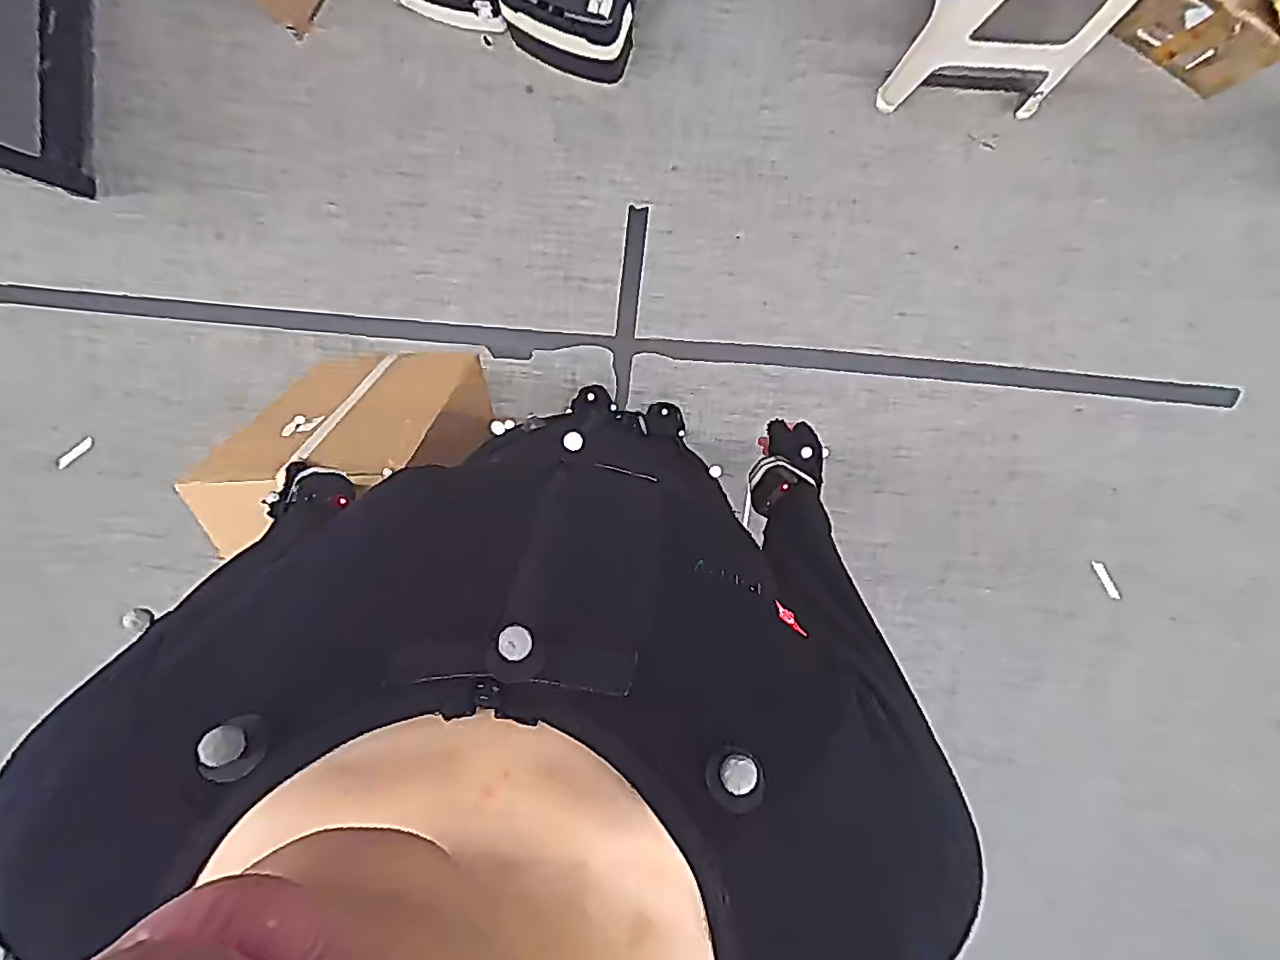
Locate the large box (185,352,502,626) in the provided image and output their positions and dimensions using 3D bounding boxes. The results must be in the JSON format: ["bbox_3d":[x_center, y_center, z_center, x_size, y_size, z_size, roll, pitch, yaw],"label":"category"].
[{"bbox_3d":[-0.461,0.001,0.971,0.320,0.408,0.320,-4,127,3],"label":"large box"}]
